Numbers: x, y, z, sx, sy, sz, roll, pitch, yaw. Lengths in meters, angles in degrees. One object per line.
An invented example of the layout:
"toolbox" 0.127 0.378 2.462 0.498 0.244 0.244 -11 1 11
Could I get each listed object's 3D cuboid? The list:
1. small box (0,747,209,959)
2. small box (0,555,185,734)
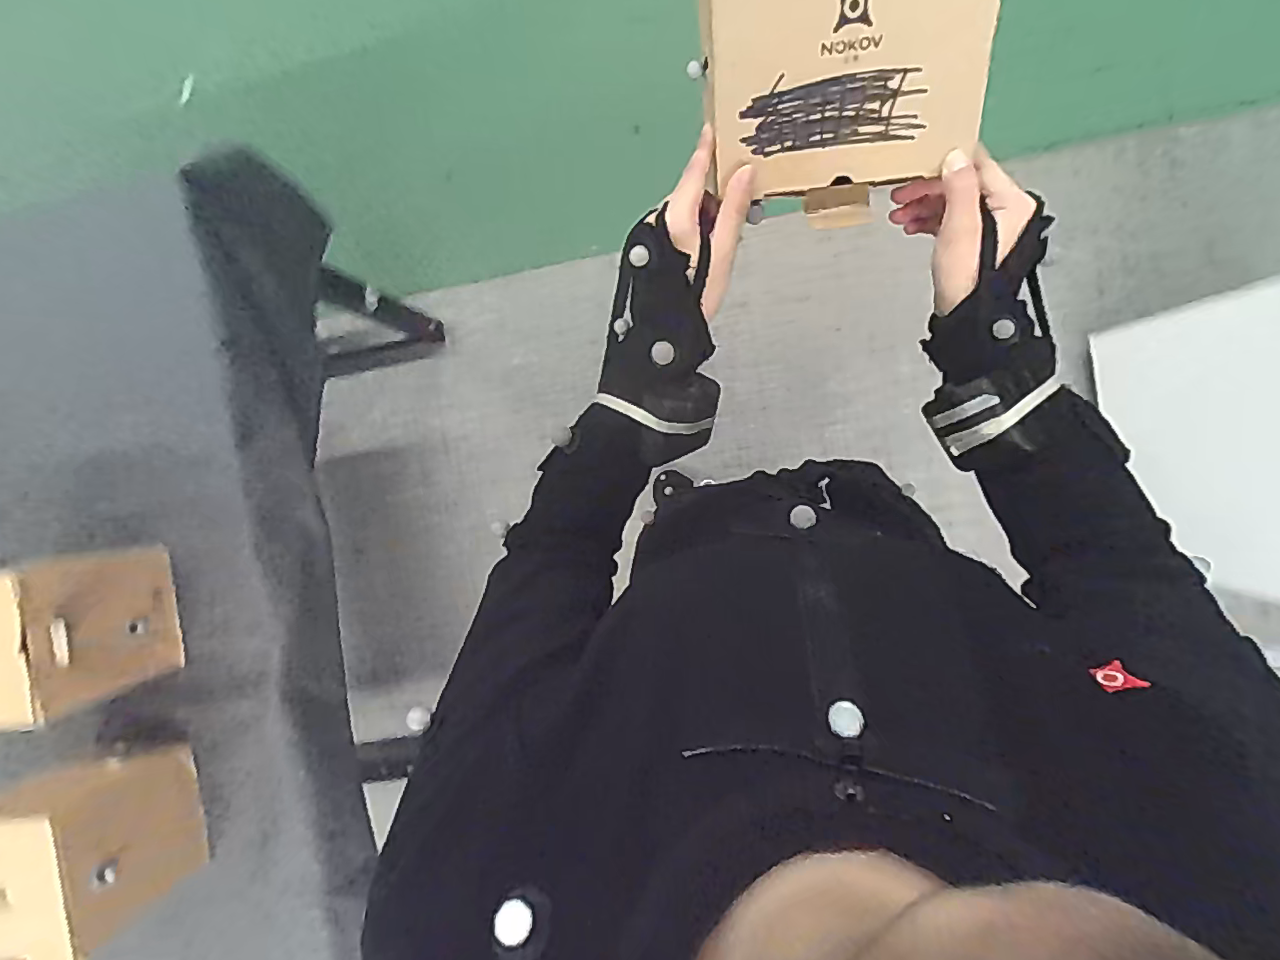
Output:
"small box" -0.680 0.460 0.667 0.168 0.176 0.179 -7 91 7
"small box" -0.718 0.193 0.661 0.179 0.176 0.168 -8 91 7
